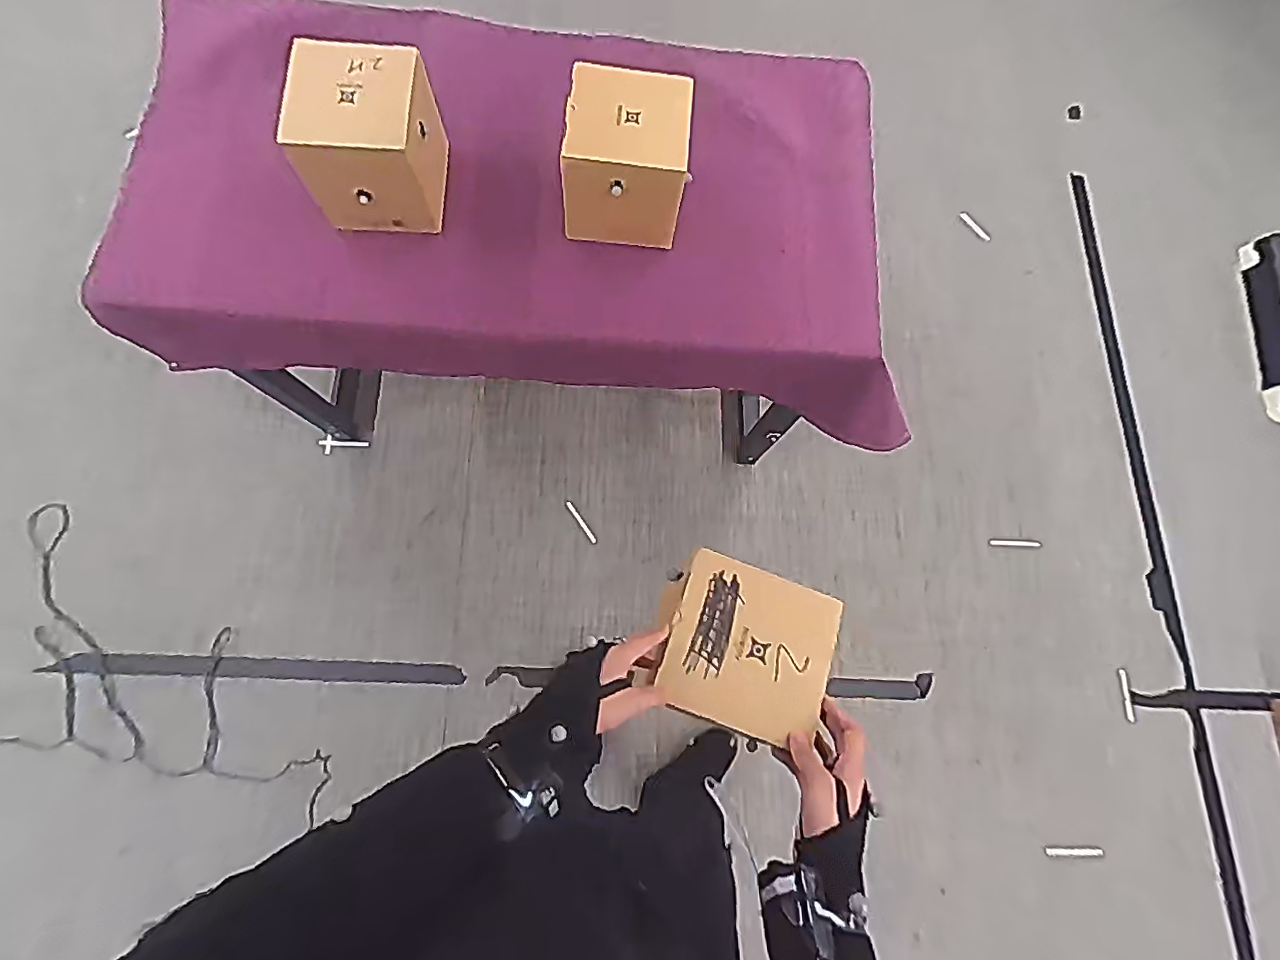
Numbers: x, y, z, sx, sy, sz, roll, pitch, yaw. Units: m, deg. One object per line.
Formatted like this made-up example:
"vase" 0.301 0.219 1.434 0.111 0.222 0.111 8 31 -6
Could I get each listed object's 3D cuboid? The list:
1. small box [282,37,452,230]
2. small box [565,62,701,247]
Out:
"small box" -0.386 -0.498 0.798 0.168 0.176 0.179 2 76 -4
"small box" -0.012 -0.482 0.824 0.179 0.176 0.168 6 76 -2
